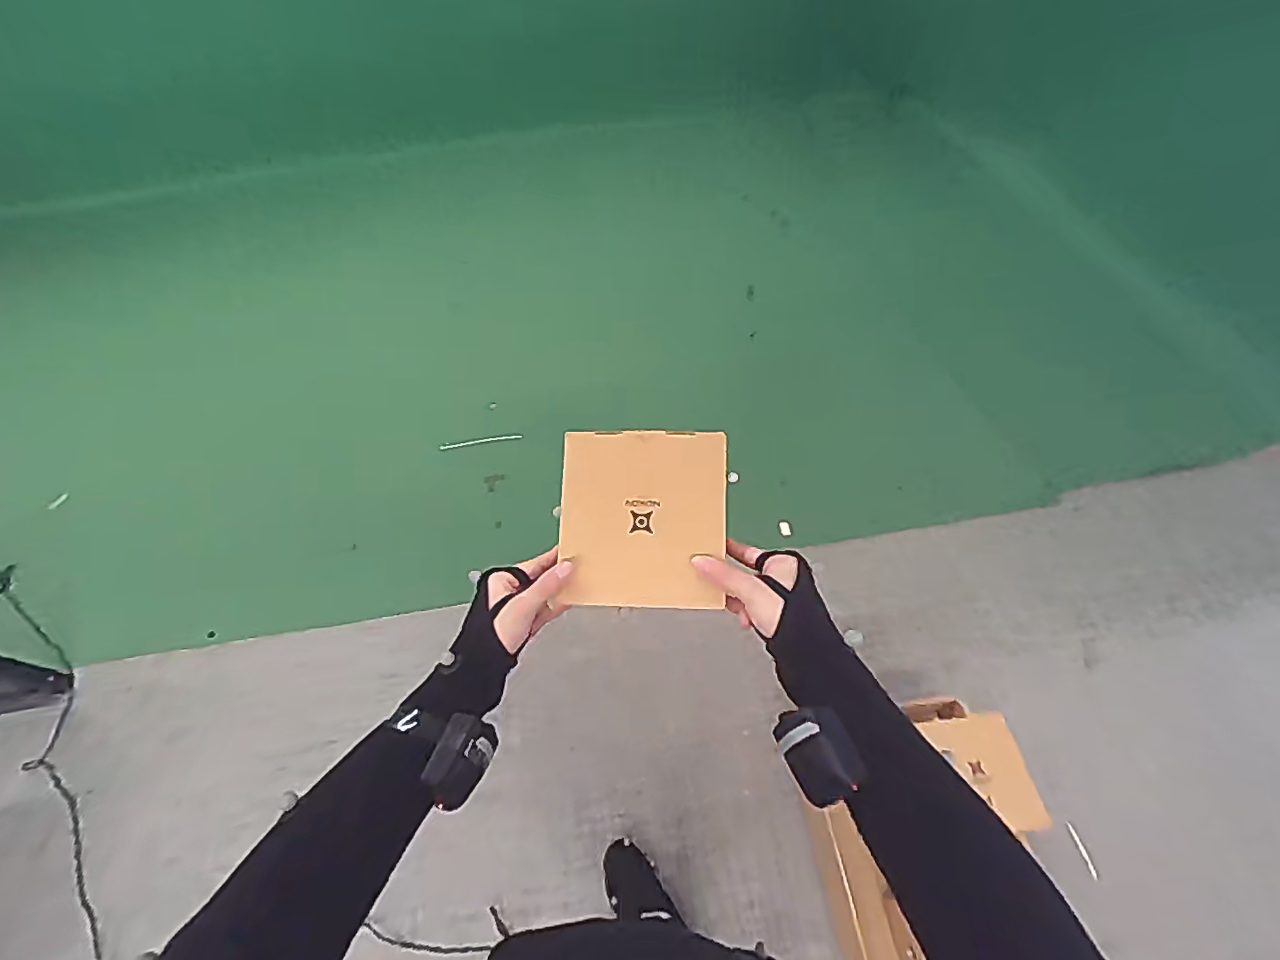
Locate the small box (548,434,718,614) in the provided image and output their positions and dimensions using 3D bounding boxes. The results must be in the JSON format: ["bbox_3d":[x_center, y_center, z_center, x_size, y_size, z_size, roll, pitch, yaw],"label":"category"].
[{"bbox_3d":[0.002,0.055,0.605,0.168,0.176,0.179,0,77,5],"label":"small box"}]
